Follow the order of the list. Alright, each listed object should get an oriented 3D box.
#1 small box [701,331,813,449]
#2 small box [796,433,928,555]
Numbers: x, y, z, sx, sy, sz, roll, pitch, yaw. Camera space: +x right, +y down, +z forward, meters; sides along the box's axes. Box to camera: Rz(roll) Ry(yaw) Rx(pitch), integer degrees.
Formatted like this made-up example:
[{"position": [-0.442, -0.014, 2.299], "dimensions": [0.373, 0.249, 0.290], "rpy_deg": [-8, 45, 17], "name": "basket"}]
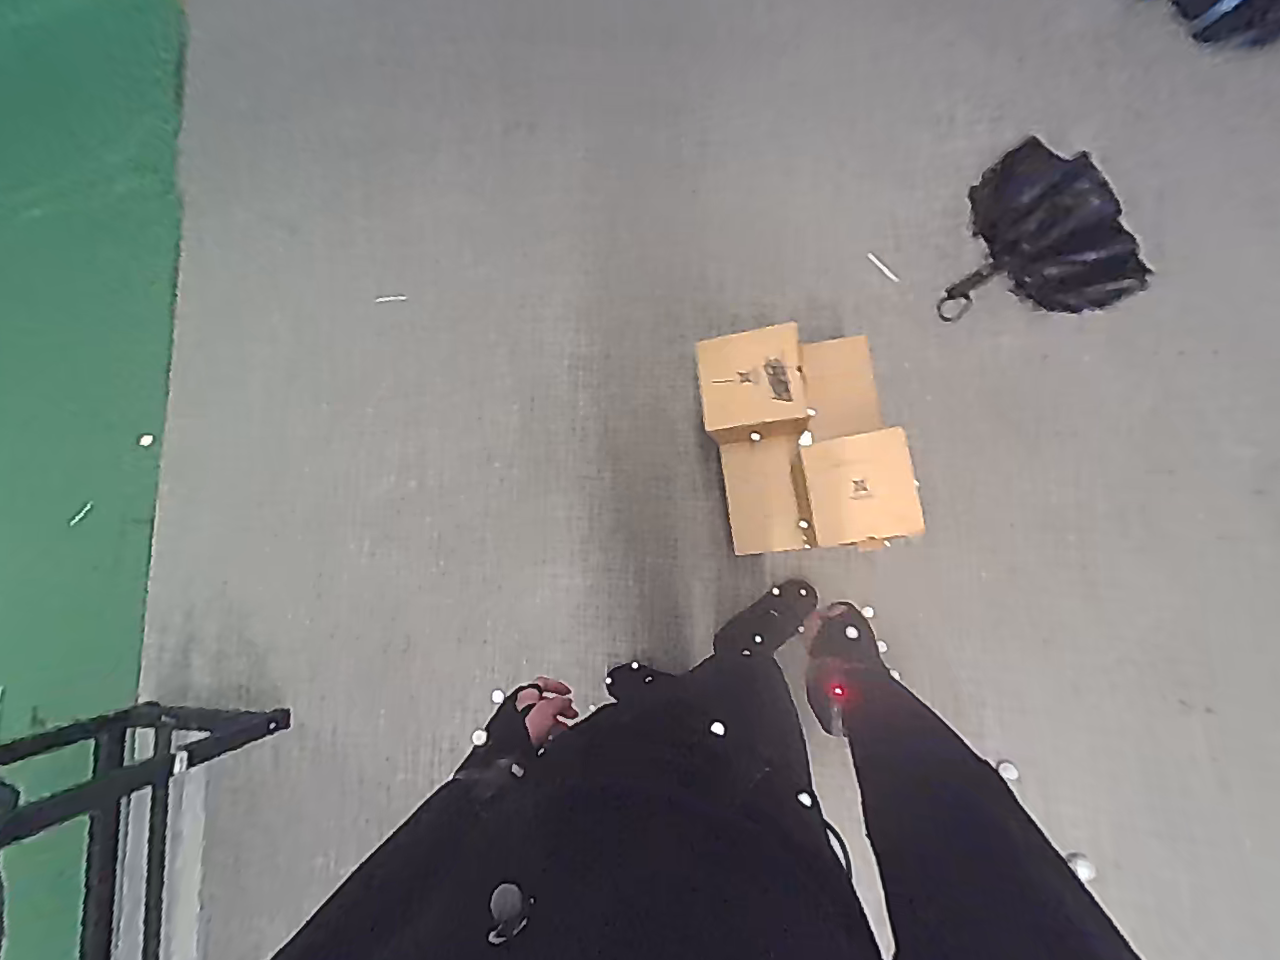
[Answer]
[{"position": [0.221, -0.157, 1.006], "dimensions": [0.179, 0.176, 0.168], "rpy_deg": [-7, 82, 17], "name": "small box"}, {"position": [0.377, 0.031, 0.947], "dimensions": [0.168, 0.176, 0.179], "rpy_deg": [-11, 81, 10], "name": "small box"}]
